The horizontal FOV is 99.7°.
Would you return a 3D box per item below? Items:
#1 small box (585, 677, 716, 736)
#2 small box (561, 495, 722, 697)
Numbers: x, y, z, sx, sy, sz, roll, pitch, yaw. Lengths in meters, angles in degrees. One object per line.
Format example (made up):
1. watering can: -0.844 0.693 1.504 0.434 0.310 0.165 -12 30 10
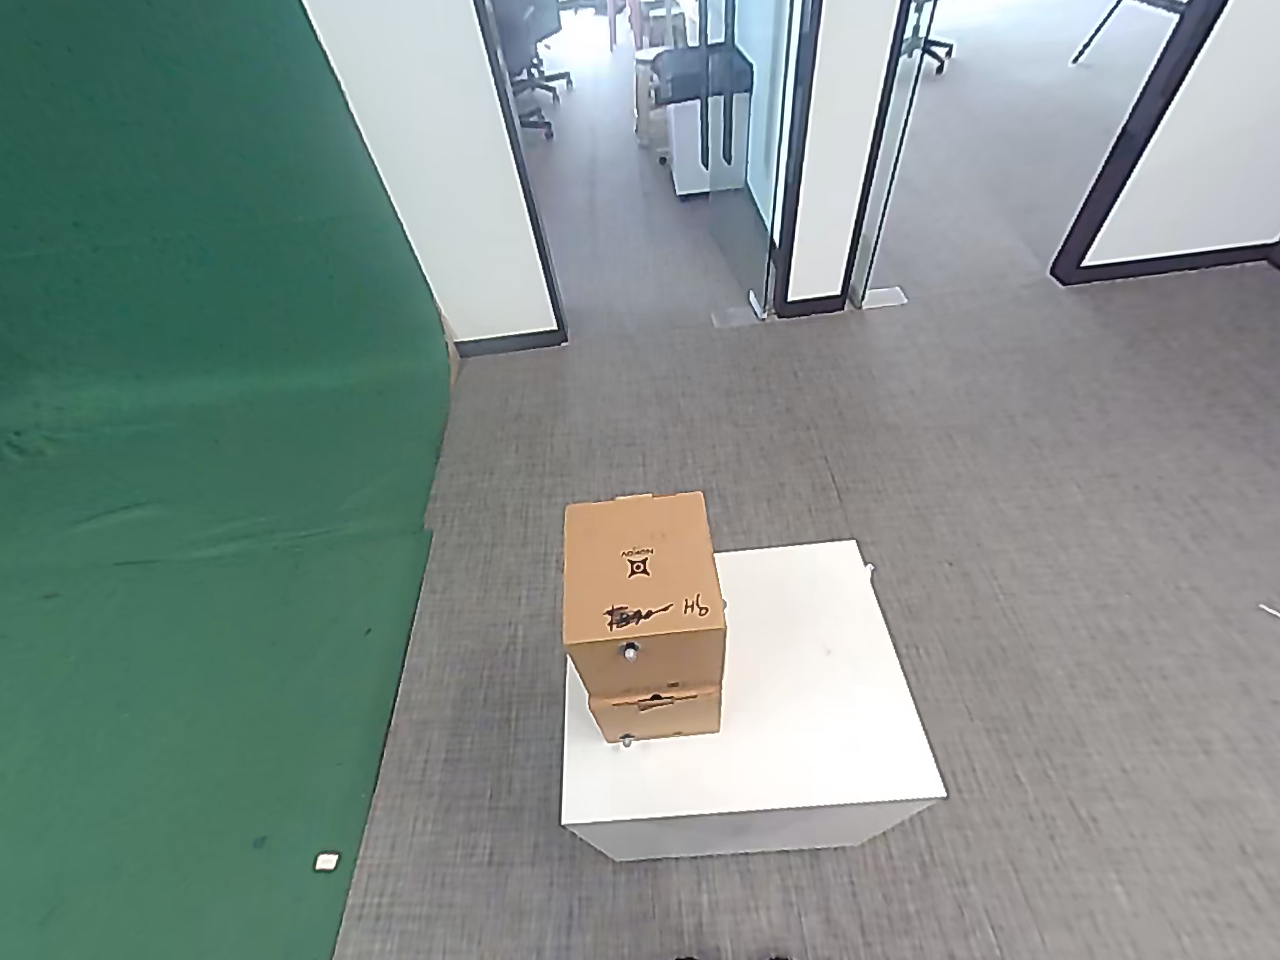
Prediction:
1. small box: 0.017 0.254 0.776 0.168 0.176 0.179 -6 49 2
2. small box: 0.004 0.142 0.657 0.168 0.176 0.179 -7 49 2
